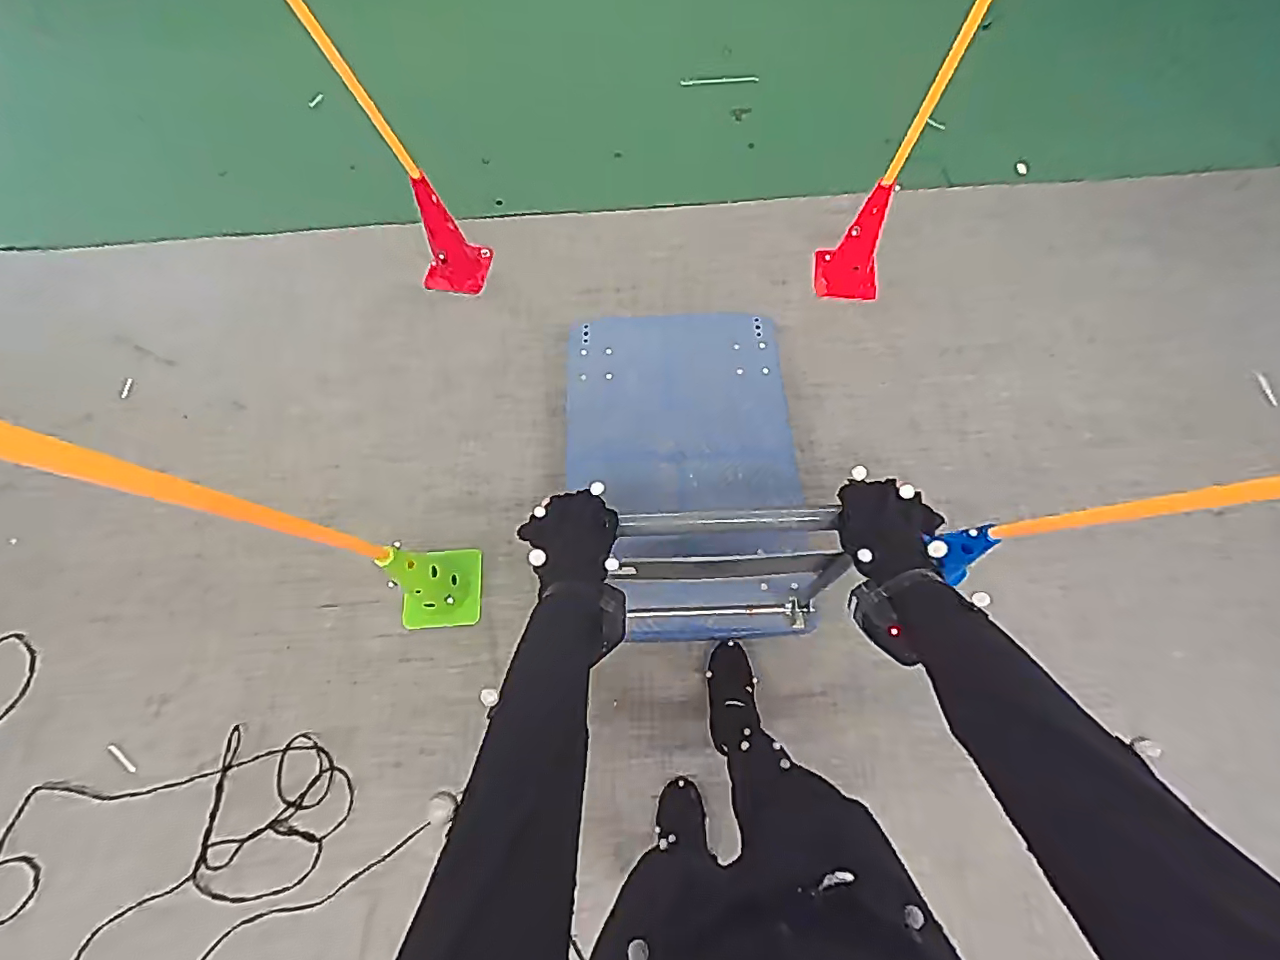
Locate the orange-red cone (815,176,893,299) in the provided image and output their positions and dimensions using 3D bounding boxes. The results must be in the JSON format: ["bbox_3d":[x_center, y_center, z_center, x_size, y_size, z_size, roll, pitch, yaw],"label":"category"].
[{"bbox_3d":[0.670,-0.739,1.616,0.198,0.360,0.199,6,70,5],"label":"orange-red cone"}]
